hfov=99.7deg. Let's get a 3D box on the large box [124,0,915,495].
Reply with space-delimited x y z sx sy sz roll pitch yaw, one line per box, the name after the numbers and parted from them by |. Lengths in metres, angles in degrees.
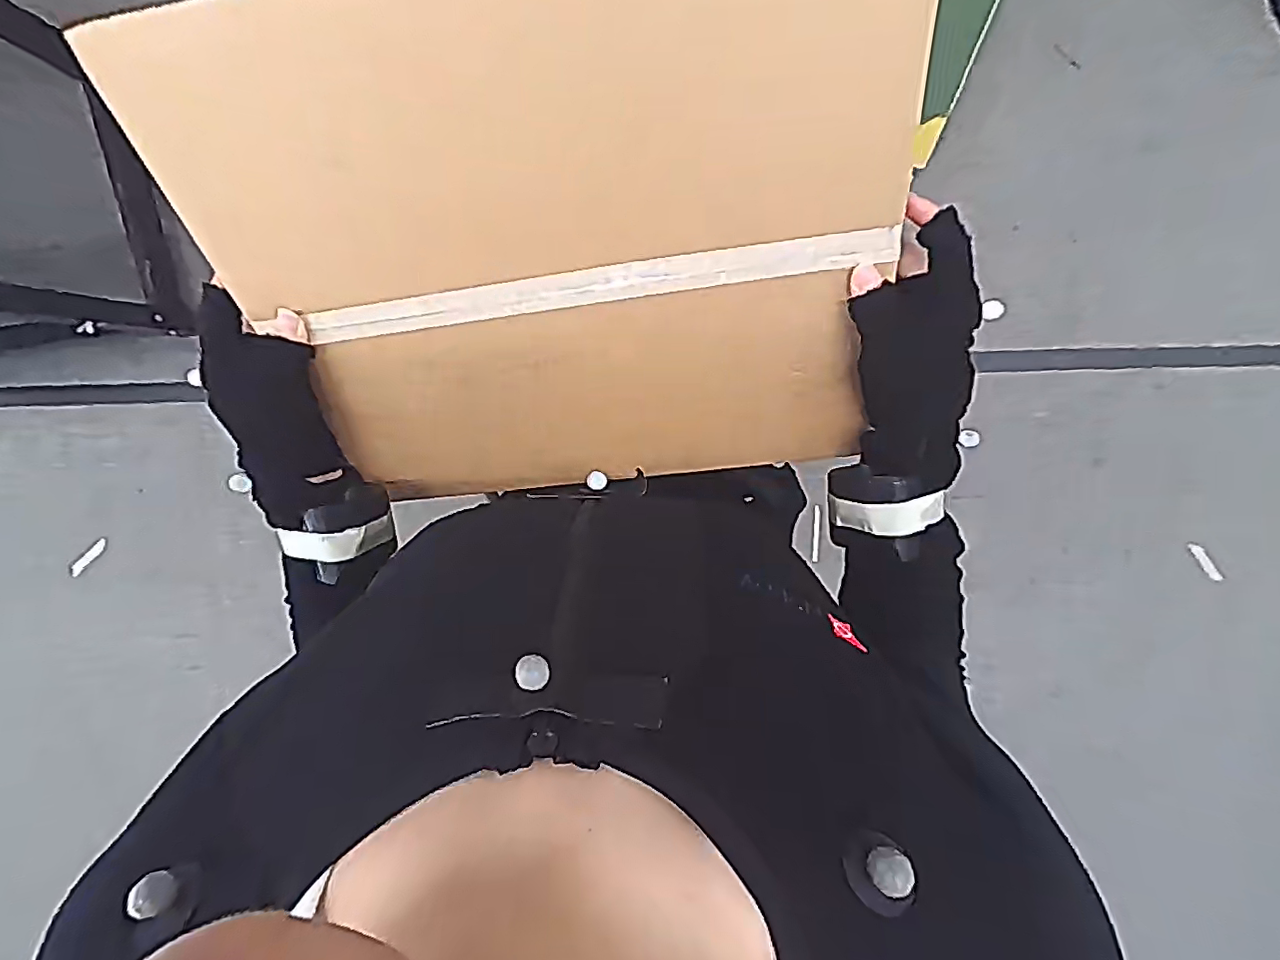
-0.047 -0.219 0.459 0.408 0.320 0.320 -6 131 7 | large box
